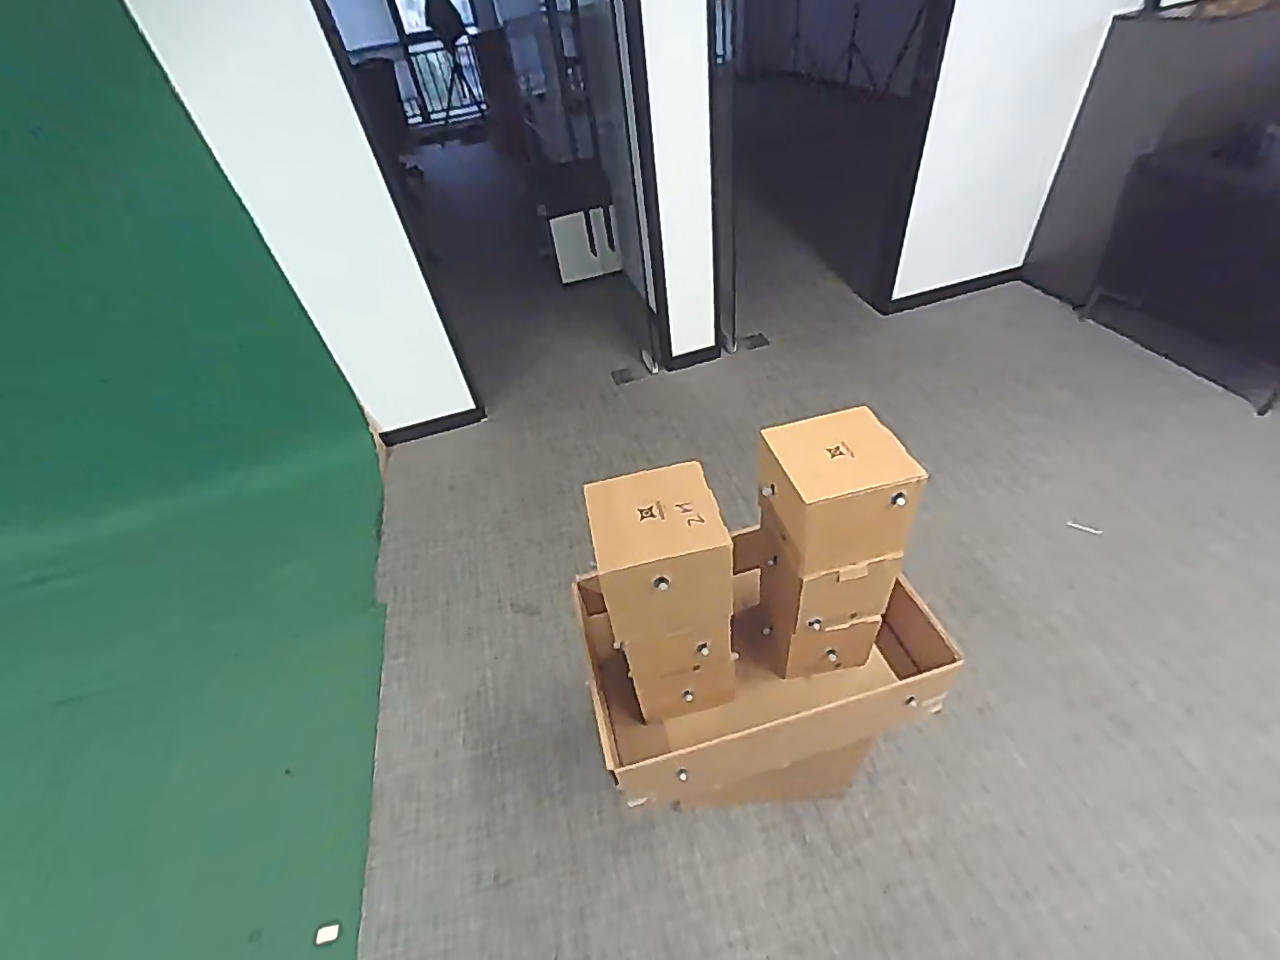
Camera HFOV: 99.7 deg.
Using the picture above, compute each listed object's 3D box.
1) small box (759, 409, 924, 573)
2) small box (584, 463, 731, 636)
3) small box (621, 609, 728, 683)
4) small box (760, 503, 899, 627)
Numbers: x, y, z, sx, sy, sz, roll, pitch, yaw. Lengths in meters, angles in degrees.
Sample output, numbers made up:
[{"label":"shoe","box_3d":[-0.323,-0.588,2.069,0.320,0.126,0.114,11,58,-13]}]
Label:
[{"label":"small box","box_3d":[0.292,0.020,0.829,0.179,0.176,0.168,-13,44,-5]},{"label":"small box","box_3d":[0.026,0.104,0.783,0.179,0.176,0.168,-12,45,-4]},{"label":"small box","box_3d":[0.044,0.217,0.903,0.168,0.176,0.179,-14,44,-6]},{"label":"small box","box_3d":[0.316,0.135,0.941,0.168,0.176,0.179,-13,43,-4]}]
